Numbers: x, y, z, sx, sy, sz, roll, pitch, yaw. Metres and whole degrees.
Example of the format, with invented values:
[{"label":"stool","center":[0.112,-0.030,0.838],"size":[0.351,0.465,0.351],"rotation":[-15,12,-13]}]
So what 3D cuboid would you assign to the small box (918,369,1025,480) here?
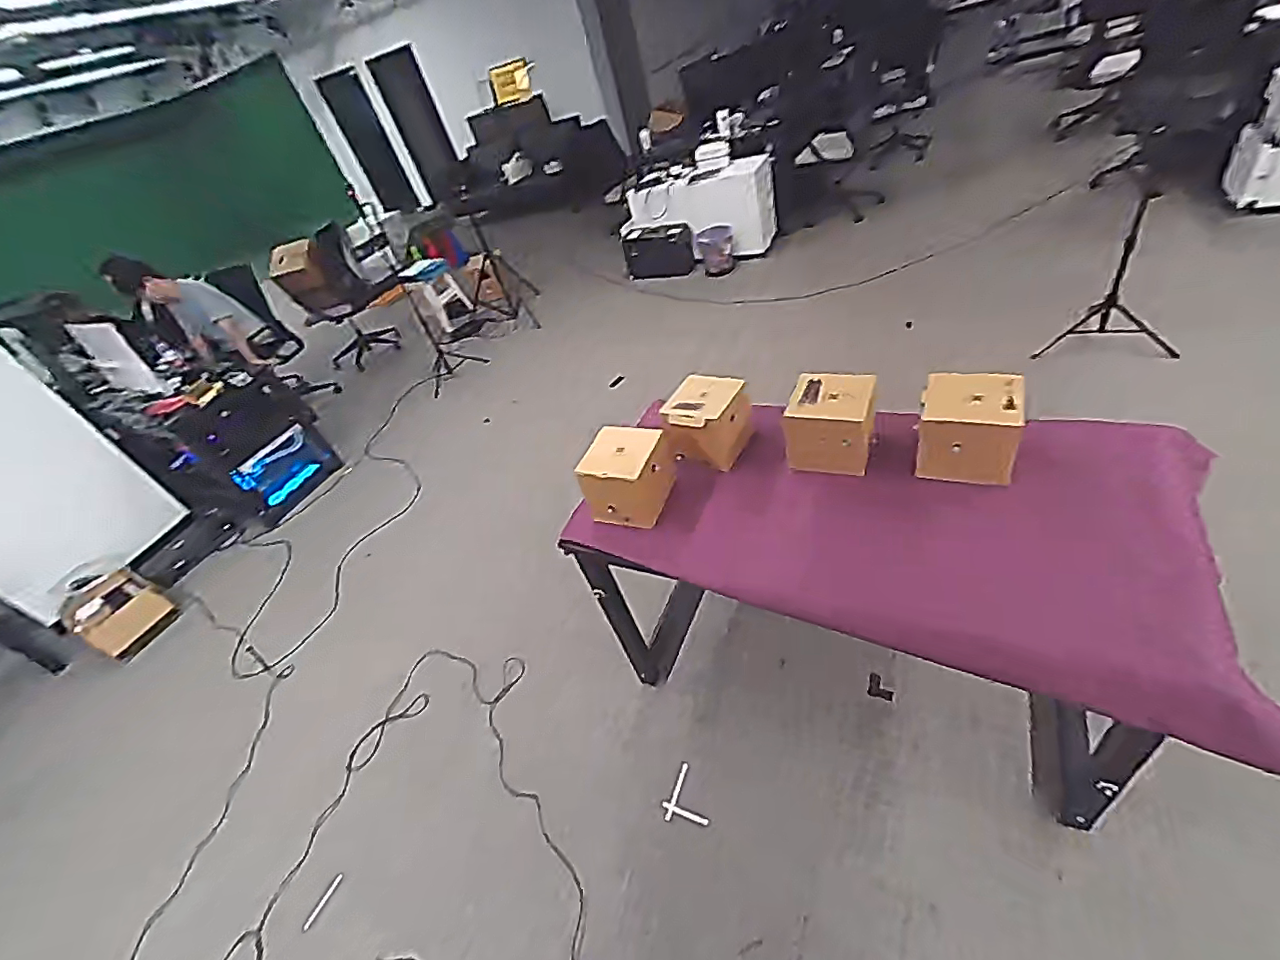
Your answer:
[{"label":"small box","center":[0.695,-0.117,1.142],"size":[0.179,0.176,0.168],"rotation":[7,50,30]}]

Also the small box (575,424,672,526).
[{"label":"small box","center":[-0.031,-0.015,1.320],"size":[0.168,0.176,0.179],"rotation":[6,47,25]}]

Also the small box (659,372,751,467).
[{"label":"small box","center":[0.176,-0.156,1.397],"size":[0.168,0.176,0.179],"rotation":[13,50,32]}]
